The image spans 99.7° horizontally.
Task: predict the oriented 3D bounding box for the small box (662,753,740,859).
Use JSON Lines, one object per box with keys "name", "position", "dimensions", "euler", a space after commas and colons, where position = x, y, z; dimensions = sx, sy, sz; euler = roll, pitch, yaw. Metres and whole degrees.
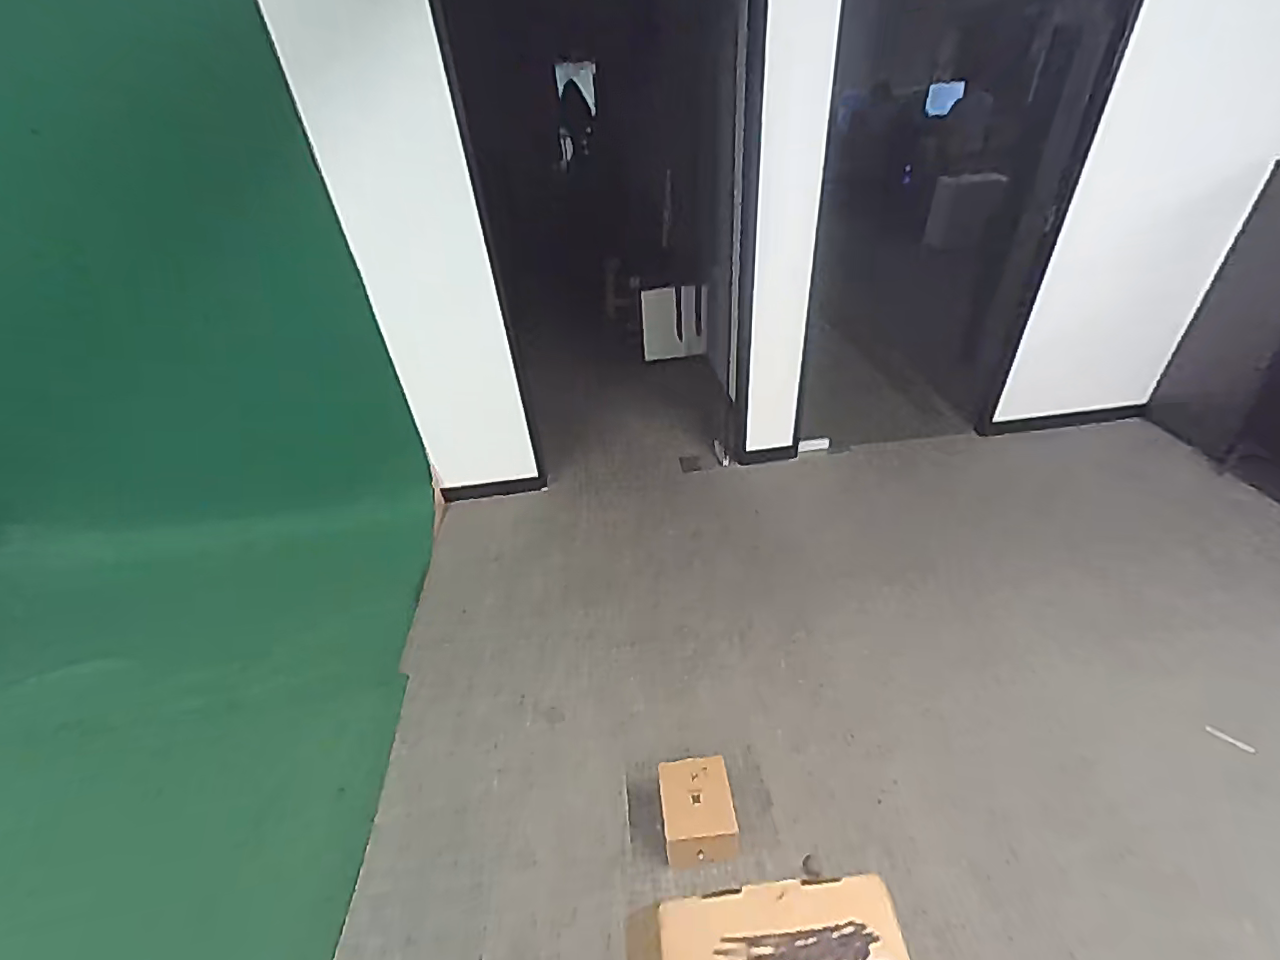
{"name": "small box", "position": [0.147, 0.801, 1.322], "dimensions": [0.168, 0.176, 0.179], "euler": [-6, 37, -1]}
